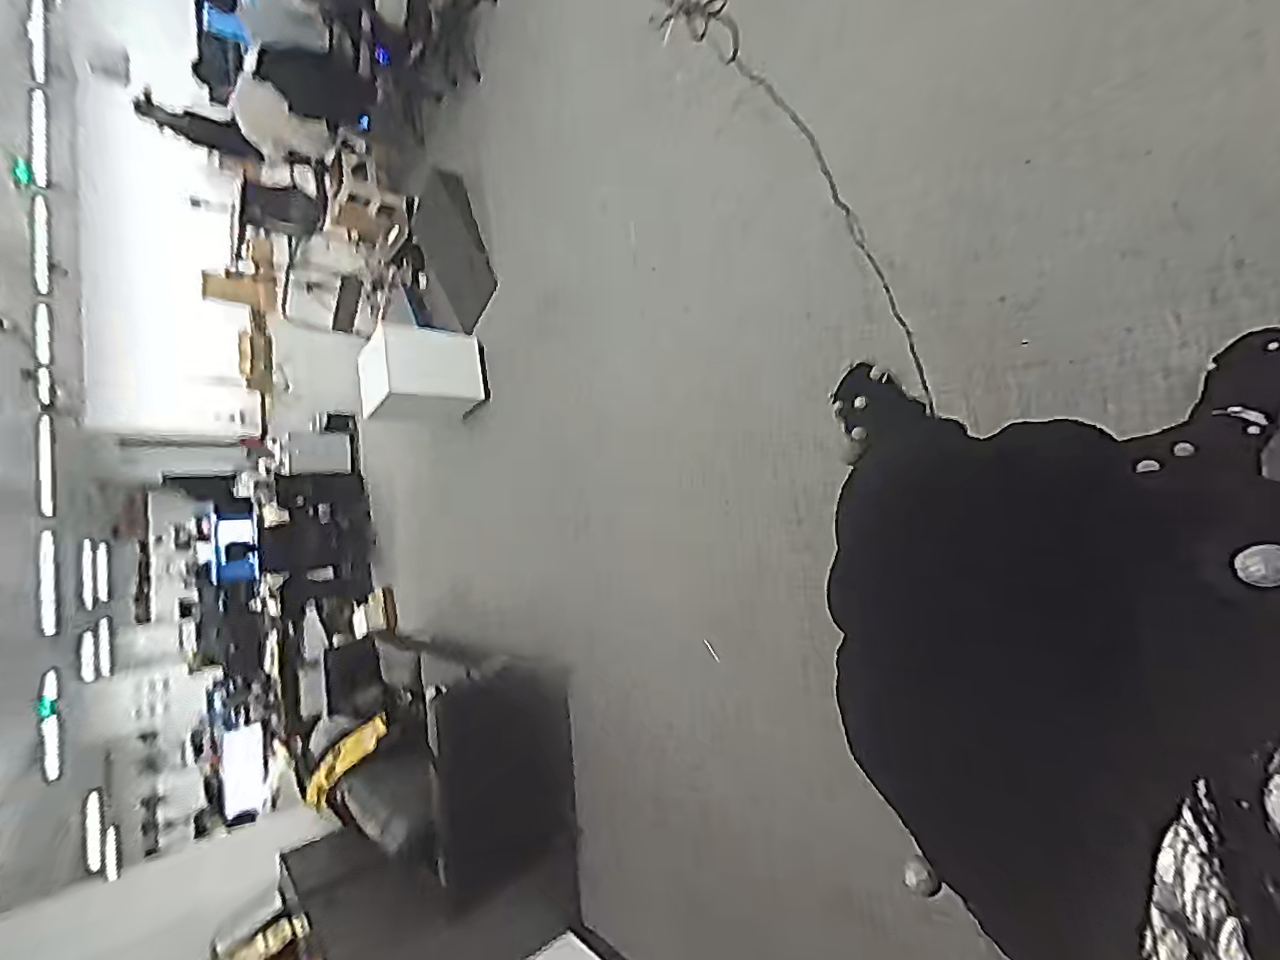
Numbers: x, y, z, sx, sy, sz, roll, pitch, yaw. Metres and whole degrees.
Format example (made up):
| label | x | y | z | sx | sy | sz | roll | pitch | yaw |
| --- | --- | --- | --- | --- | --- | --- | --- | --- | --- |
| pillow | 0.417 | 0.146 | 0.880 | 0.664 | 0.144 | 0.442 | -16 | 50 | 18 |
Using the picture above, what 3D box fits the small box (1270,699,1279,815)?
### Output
| label | x | y | z | sx | sy | sz | roll | pitch | yaw |
| --- | --- | --- | --- | --- | --- | --- | --- | --- | --- |
| small box | 1.172 | 0.474 | 0.888 | 0.179 | 0.176 | 0.168 | 0 | 91 | 49 |
